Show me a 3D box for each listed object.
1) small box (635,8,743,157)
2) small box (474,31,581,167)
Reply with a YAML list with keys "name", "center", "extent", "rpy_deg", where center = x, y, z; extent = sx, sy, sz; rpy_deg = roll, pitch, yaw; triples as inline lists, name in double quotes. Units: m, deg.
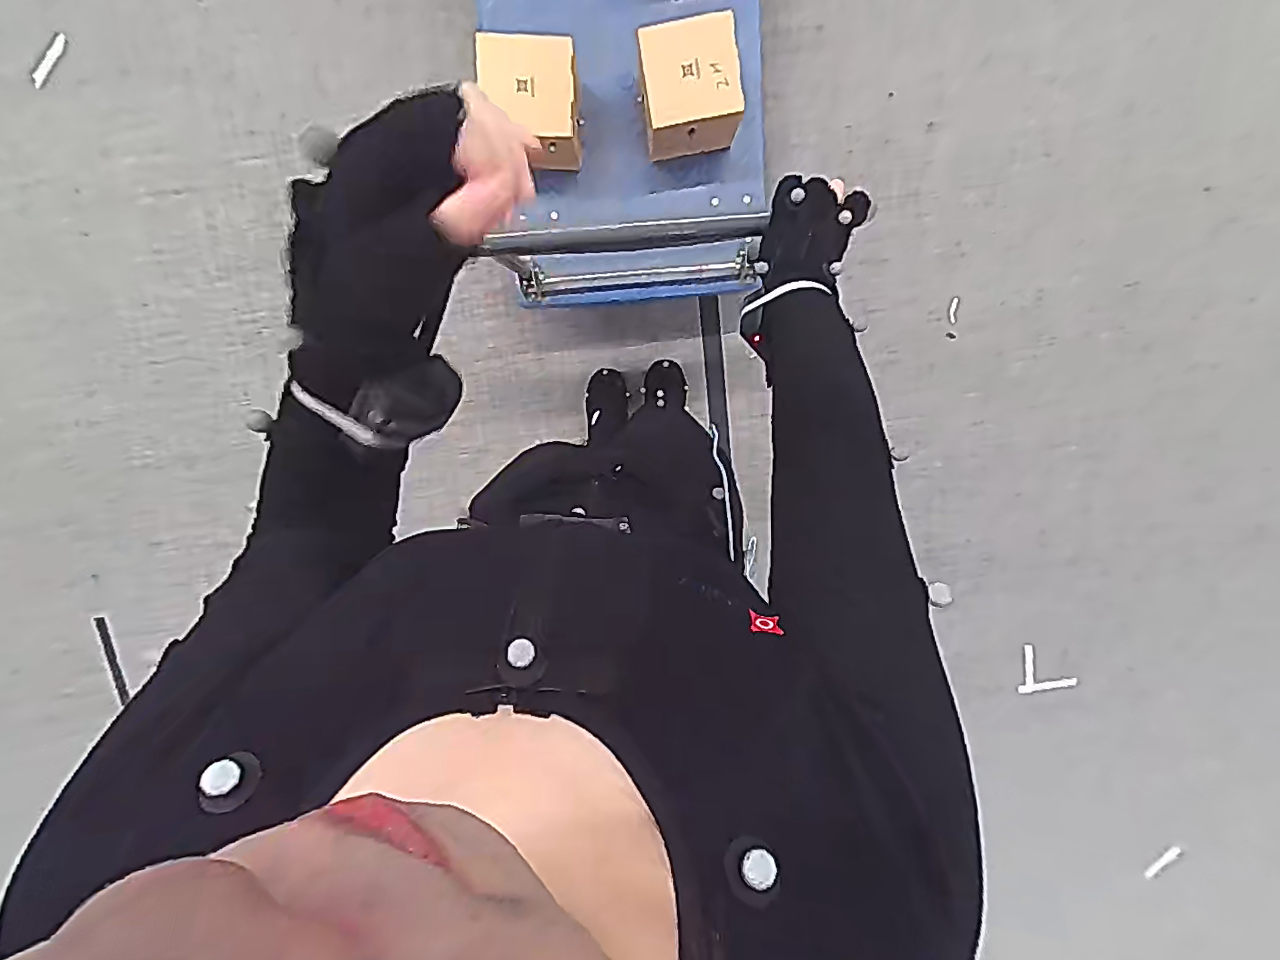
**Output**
- name: "small box"
  center: [0.091, -0.755, 1.047]
  extent: [0.179, 0.176, 0.168]
  rpy_deg: [-10, 103, 2]
- name: "small box"
  center: [-0.211, -0.729, 1.053]
  extent: [0.179, 0.176, 0.168]
  rpy_deg: [1, 102, -2]
